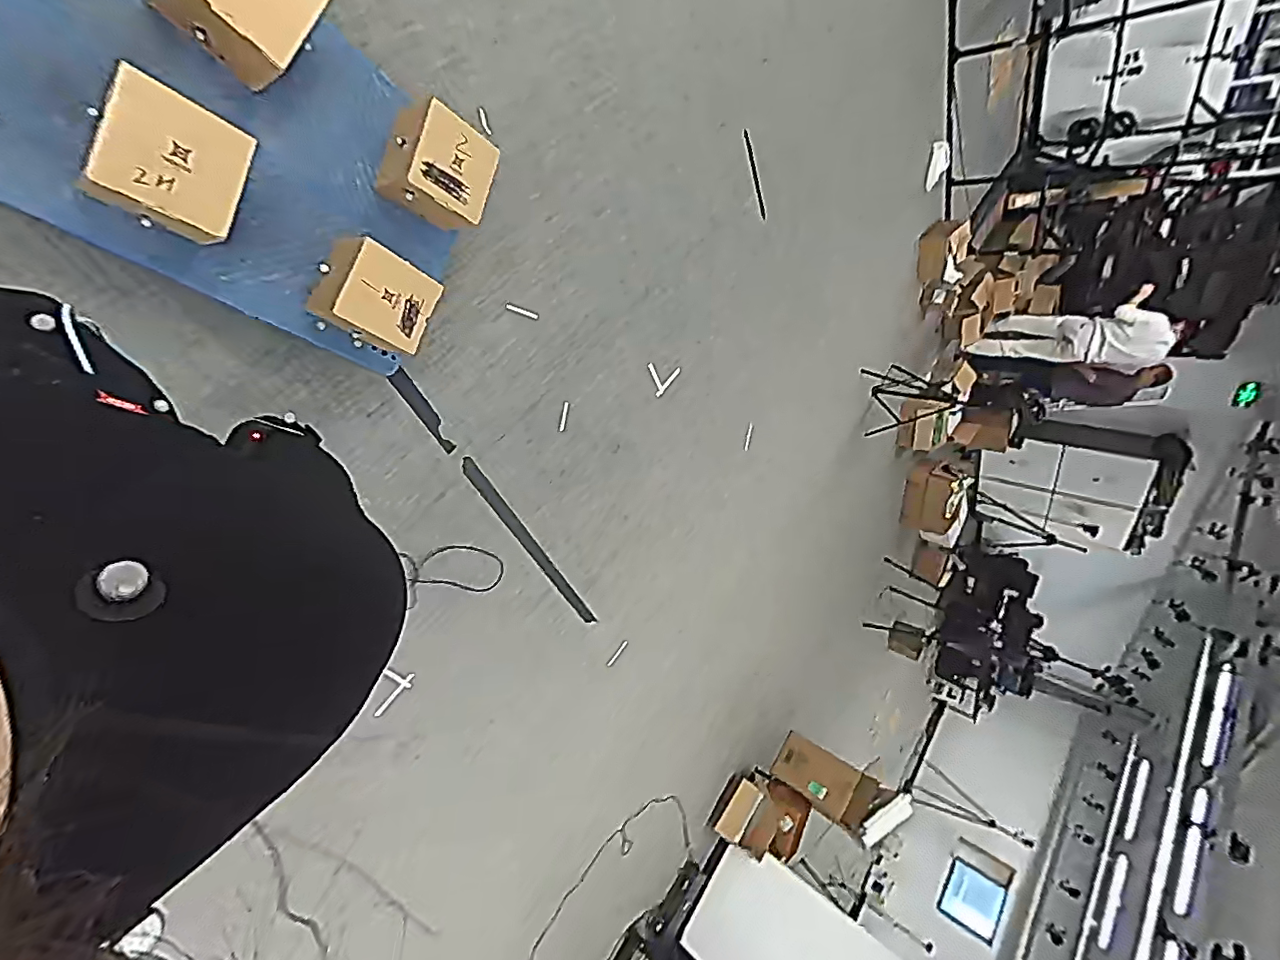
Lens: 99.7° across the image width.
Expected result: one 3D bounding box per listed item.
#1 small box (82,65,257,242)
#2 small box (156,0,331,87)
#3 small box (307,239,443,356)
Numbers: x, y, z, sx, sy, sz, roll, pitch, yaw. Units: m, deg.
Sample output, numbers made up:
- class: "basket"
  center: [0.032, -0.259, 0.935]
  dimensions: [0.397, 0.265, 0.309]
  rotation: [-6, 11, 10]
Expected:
- class: "small box"
  center: [-0.757, -0.506, 0.868]
  dimensions: [0.168, 0.176, 0.179]
  rotation: [18, 90, -51]
- class: "small box"
  center: [-0.649, -0.794, 0.884]
  dimensions: [0.168, 0.176, 0.179]
  rotation: [33, 80, -50]
- class: "small box"
  center: [-0.561, -0.384, 1.142]
  dimensions: [0.179, 0.176, 0.168]
  rotation: [27, 83, -49]
